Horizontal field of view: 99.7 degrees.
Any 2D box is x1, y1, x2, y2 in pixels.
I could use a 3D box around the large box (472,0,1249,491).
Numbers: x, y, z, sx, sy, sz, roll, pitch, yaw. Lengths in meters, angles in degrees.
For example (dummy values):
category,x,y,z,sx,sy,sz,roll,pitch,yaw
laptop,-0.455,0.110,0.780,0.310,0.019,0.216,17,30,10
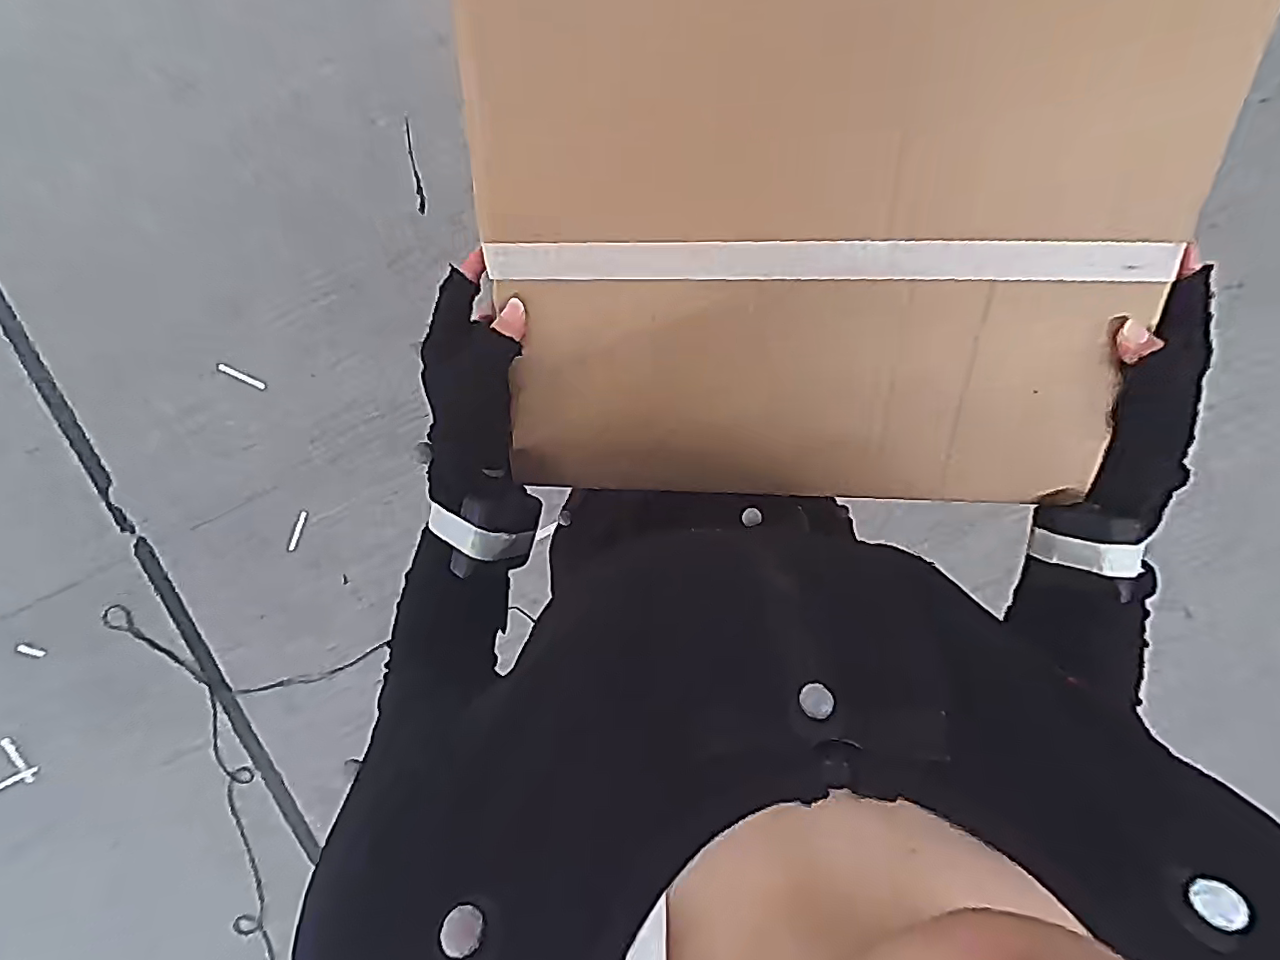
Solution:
category,x,y,z,sx,sy,sz,roll,pitch,yaw
large box,0.116,-0.199,0.471,0.408,0.320,0.320,2,118,3
